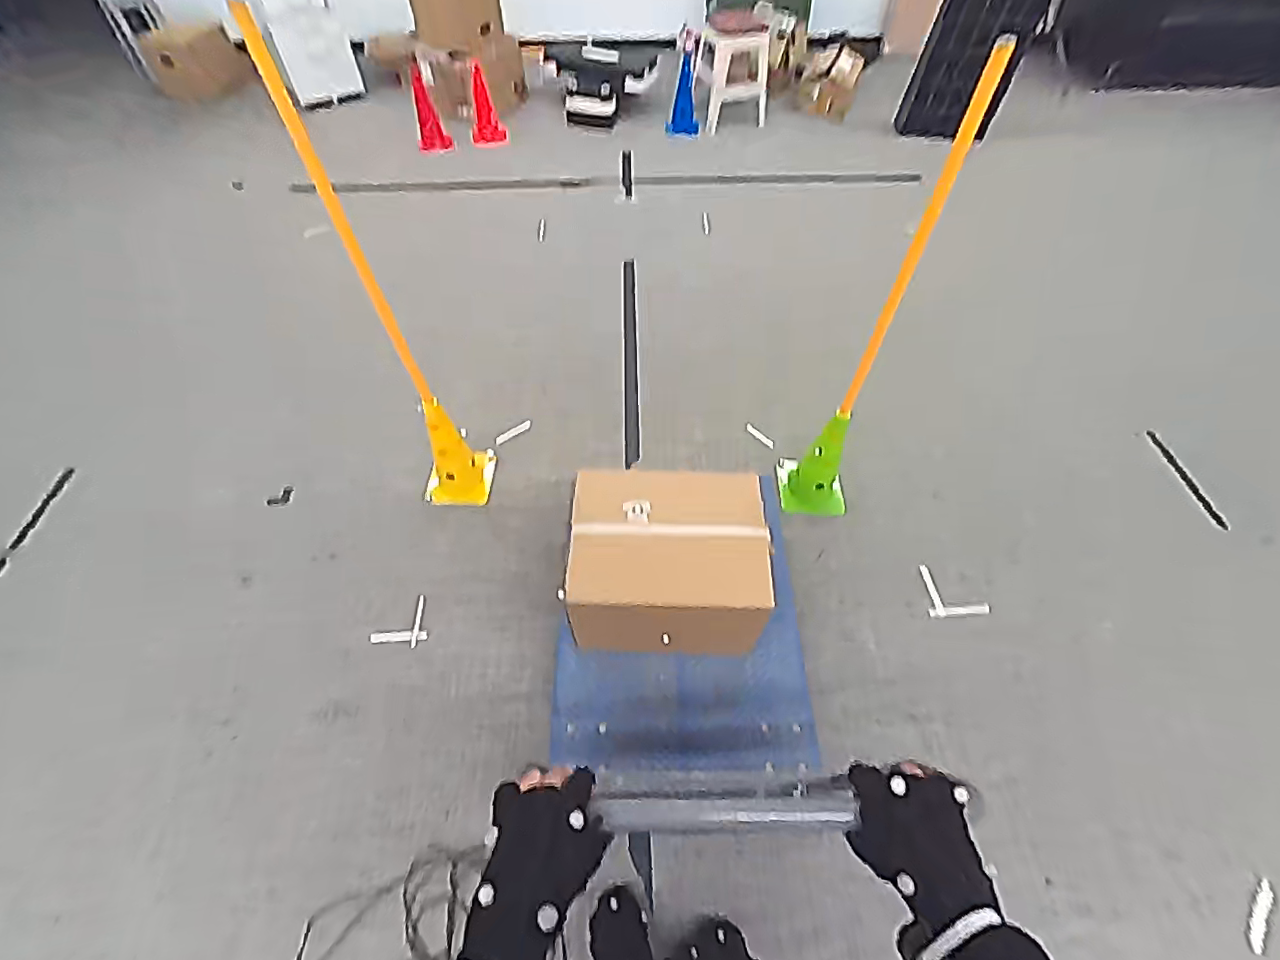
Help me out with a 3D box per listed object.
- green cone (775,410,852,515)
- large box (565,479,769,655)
[{"bbox_3d":[0.552,-0.072,1.627,0.202,0.368,0.200,2,55,0],"label":"green cone"},{"bbox_3d":[0.058,0.209,1.250,0.408,0.320,0.320,1,55,1],"label":"large box"}]
